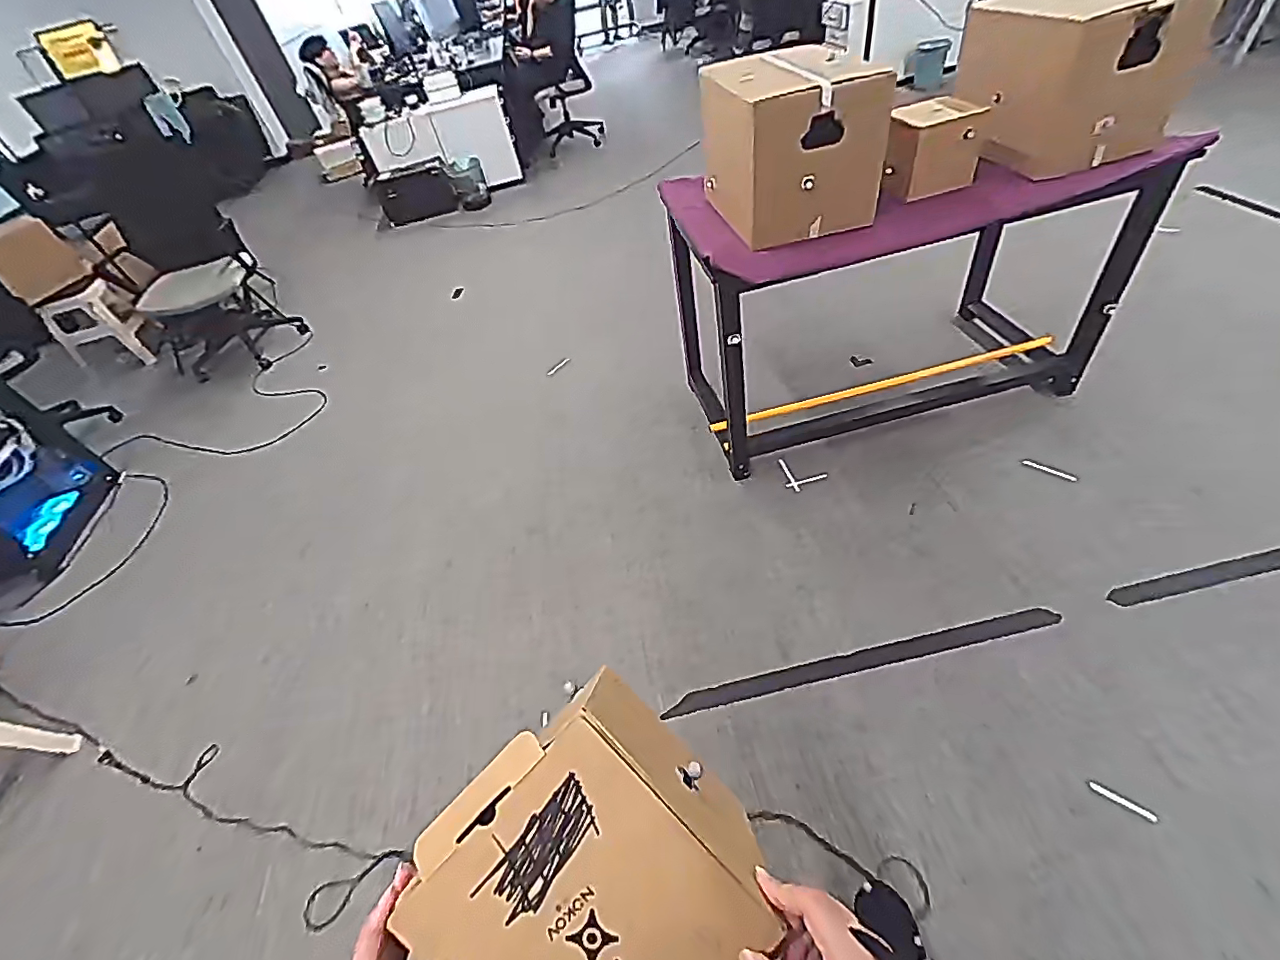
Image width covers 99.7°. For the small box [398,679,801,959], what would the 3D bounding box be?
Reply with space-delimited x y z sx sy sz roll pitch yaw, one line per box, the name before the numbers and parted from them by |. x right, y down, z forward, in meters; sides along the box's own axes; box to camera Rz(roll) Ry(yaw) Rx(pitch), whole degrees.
small box | -0.023 0.267 0.388 0.179 0.176 0.168 44 85 8

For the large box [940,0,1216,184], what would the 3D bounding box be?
large box | 1.029 -0.984 1.341 0.320 0.320 0.408 -15 44 -1
